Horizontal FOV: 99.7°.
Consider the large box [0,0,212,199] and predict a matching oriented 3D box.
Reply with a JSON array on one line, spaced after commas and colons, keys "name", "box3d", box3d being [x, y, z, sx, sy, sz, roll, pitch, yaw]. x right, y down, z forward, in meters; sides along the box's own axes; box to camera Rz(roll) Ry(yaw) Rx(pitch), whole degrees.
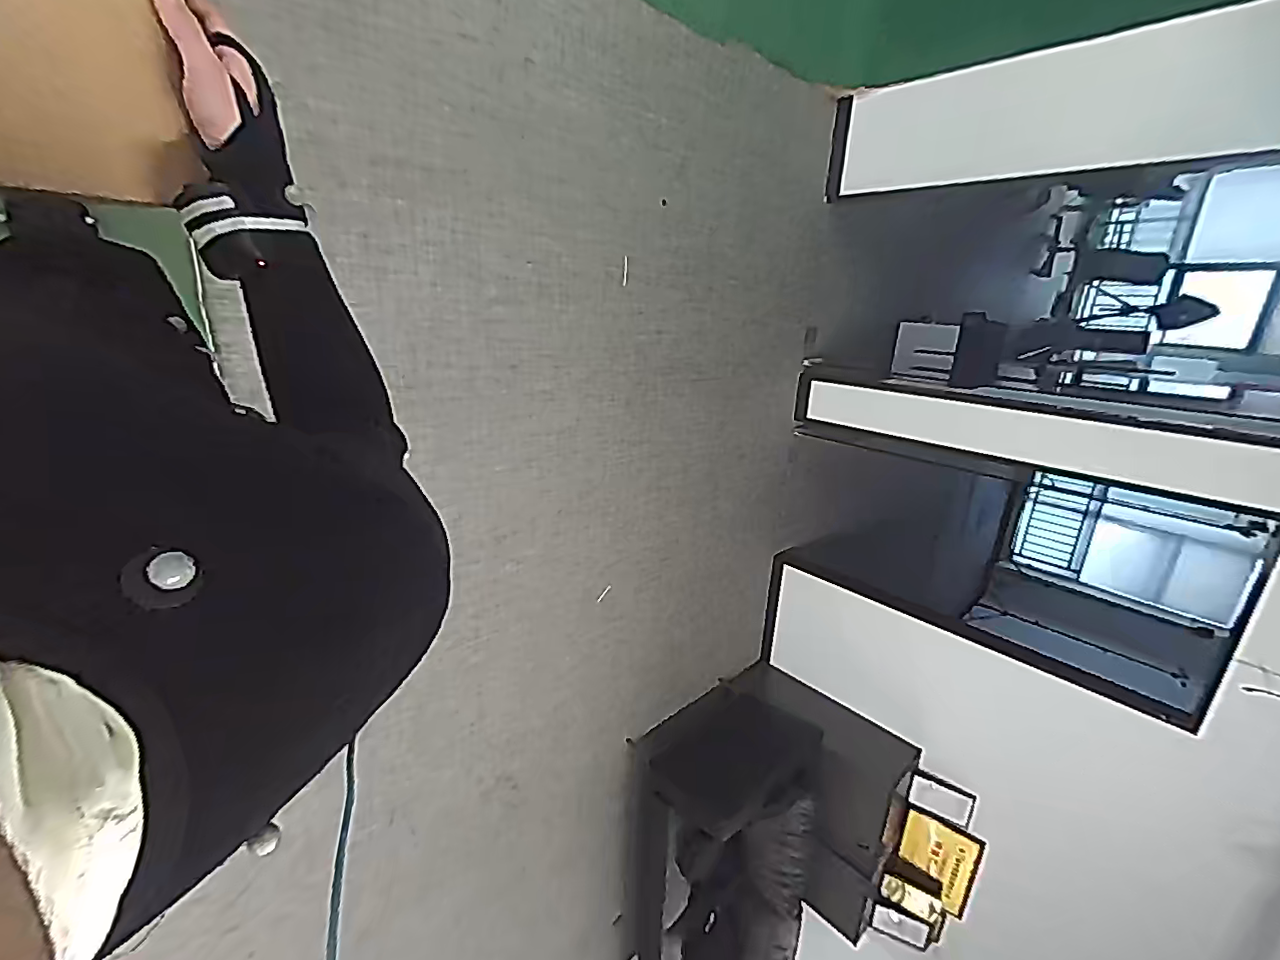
[{"name": "large box", "box3d": [-0.599, -0.389, 0.365, 0.408, 0.320, 0.320, -17, 121, -44]}]
